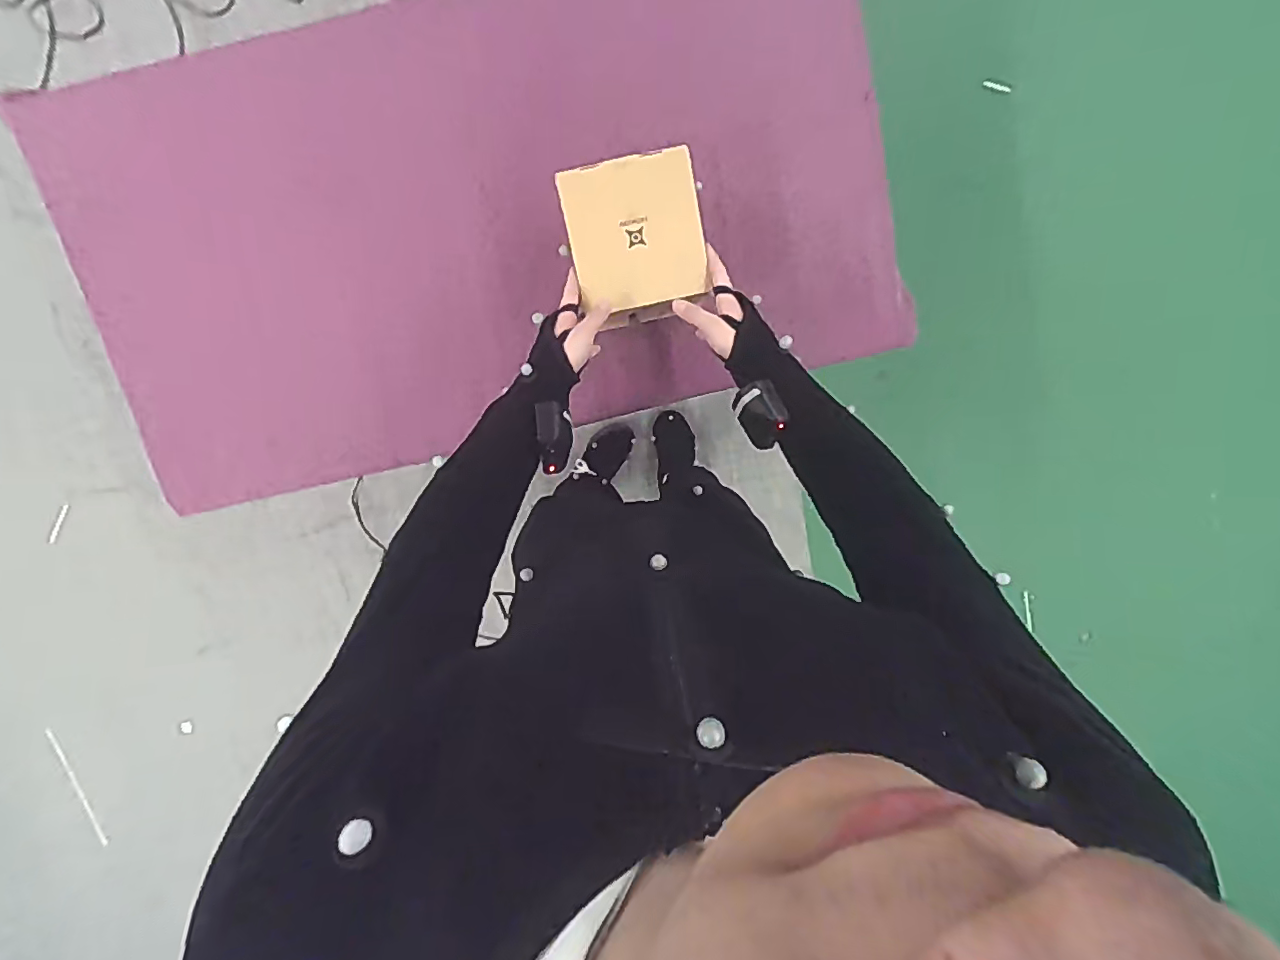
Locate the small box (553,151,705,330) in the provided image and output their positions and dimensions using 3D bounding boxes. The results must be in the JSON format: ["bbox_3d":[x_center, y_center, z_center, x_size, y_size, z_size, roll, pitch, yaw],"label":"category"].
[{"bbox_3d":[-0.010,-0.312,0.746,0.168,0.176,0.179,-11,98,2],"label":"small box"}]
